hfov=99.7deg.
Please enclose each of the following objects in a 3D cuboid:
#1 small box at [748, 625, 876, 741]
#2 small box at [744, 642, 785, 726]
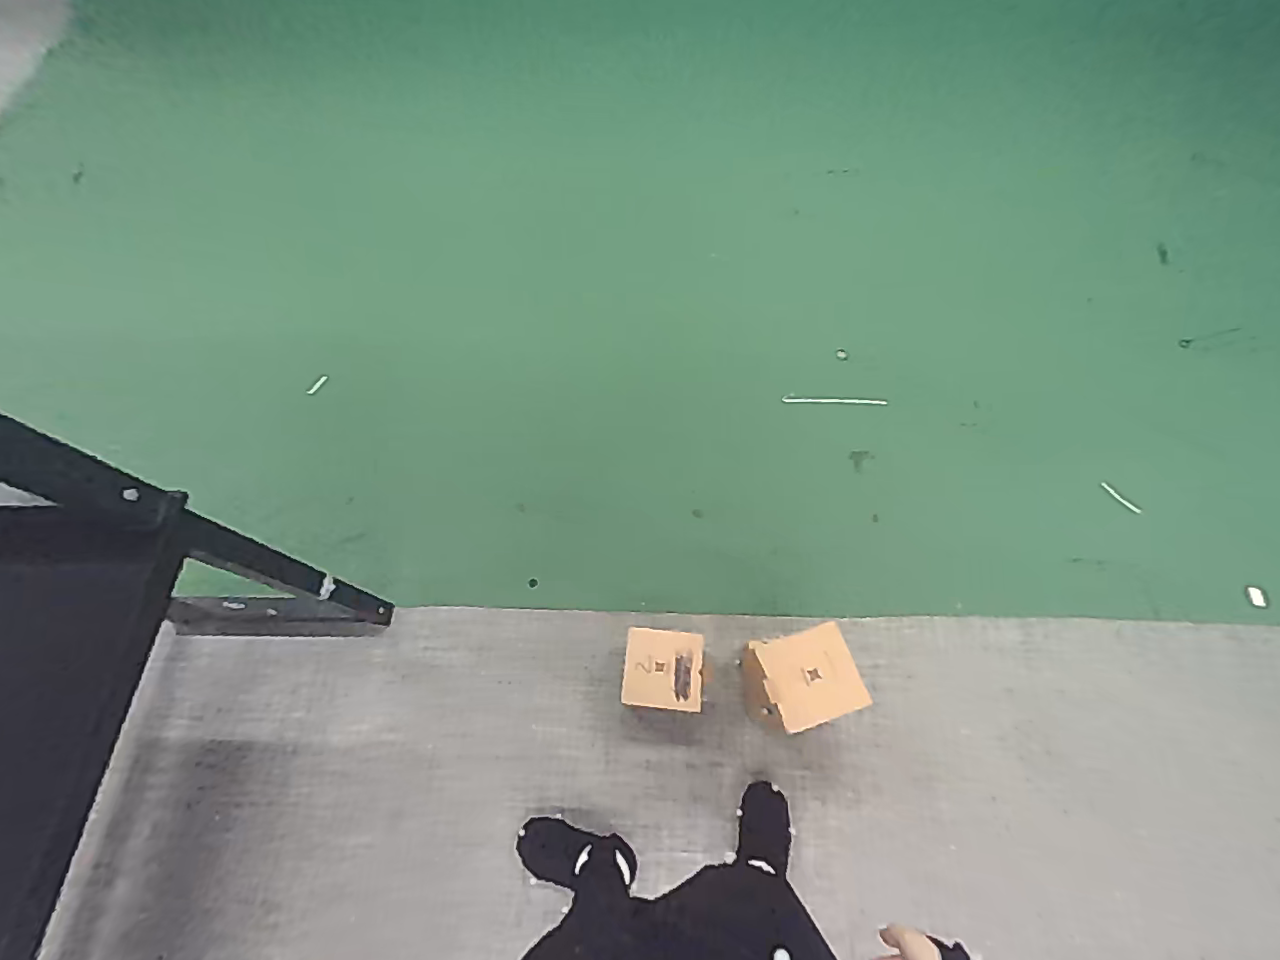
[{"bbox_3d":[0.330,0.409,1.087,0.179,0.176,0.168,-17,68,-7],"label":"small box"},{"bbox_3d":[0.341,0.467,1.239,0.179,0.176,0.168,-6,66,-2],"label":"small box"}]
